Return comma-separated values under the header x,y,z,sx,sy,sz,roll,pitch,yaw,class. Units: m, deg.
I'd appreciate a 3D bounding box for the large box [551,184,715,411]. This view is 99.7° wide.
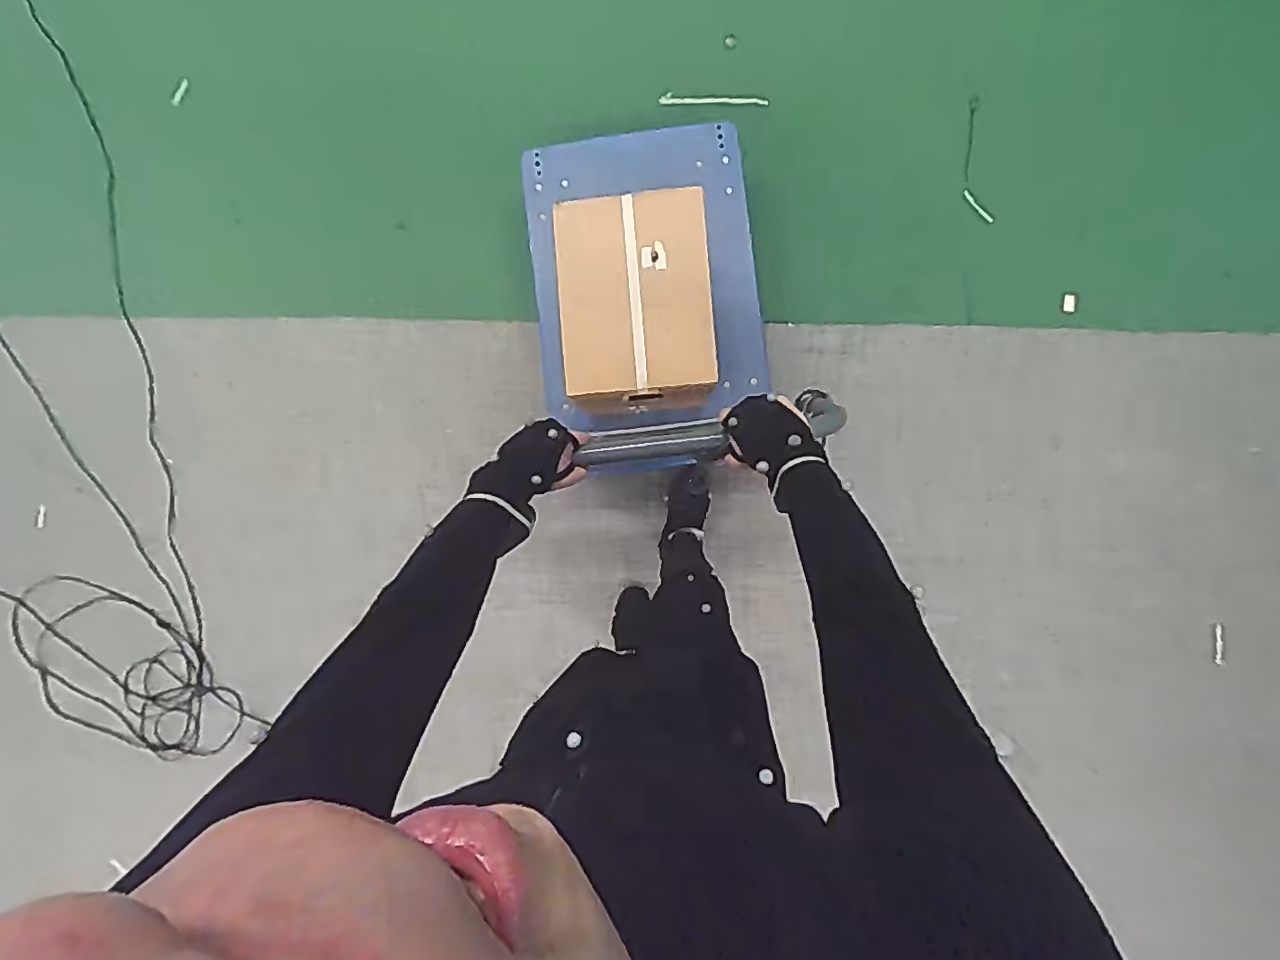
x,y,z,sx,sy,sz,roll,pitch,yaw,class
-0.007,-0.391,1.255,0.320,0.320,0.408,-4,89,2,large box
